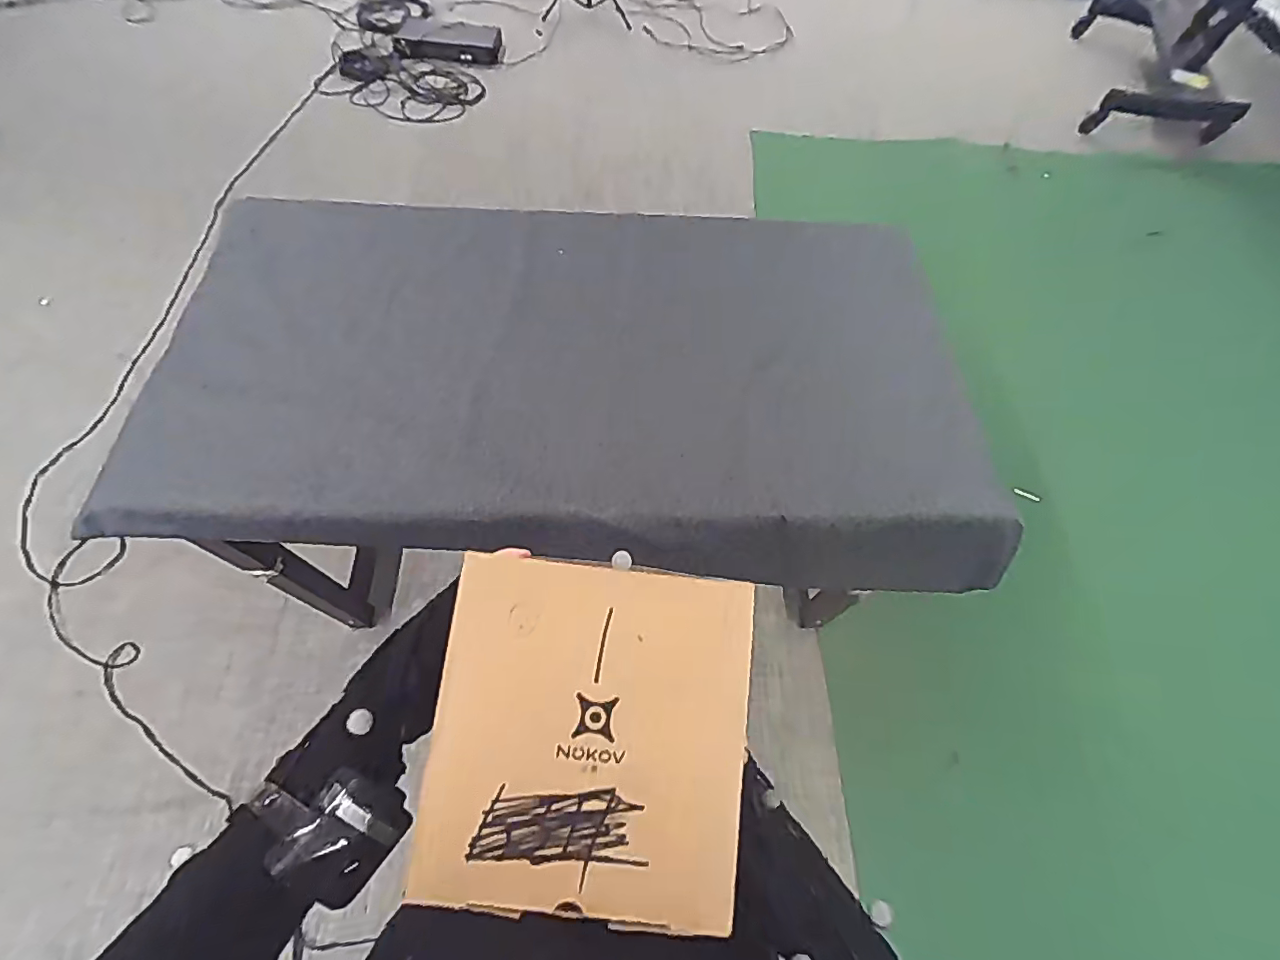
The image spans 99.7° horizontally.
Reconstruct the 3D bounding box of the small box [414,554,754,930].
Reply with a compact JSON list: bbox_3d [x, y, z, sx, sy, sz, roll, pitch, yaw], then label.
[{"bbox_3d":[-0.029,0.154,0.375,0.168,0.176,0.179,8,78,-1],"label":"small box"}]
